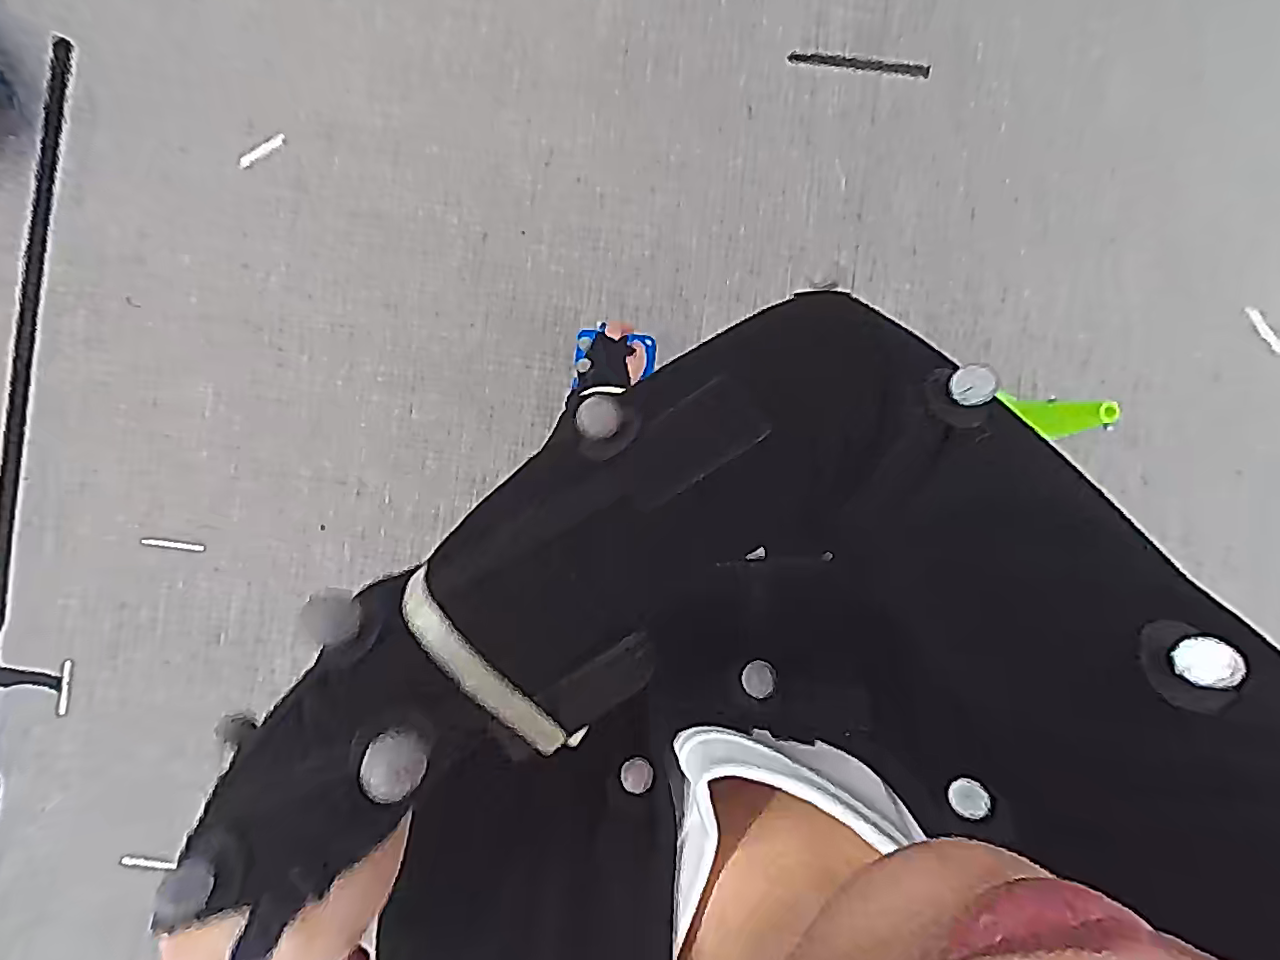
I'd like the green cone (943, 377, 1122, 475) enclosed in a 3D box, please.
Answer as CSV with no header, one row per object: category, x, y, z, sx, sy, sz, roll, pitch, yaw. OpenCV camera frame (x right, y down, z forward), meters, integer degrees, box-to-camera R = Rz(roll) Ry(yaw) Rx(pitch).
green cone,0.895,-0.134,1.204,0.200,0.368,0.202,28,91,-1
